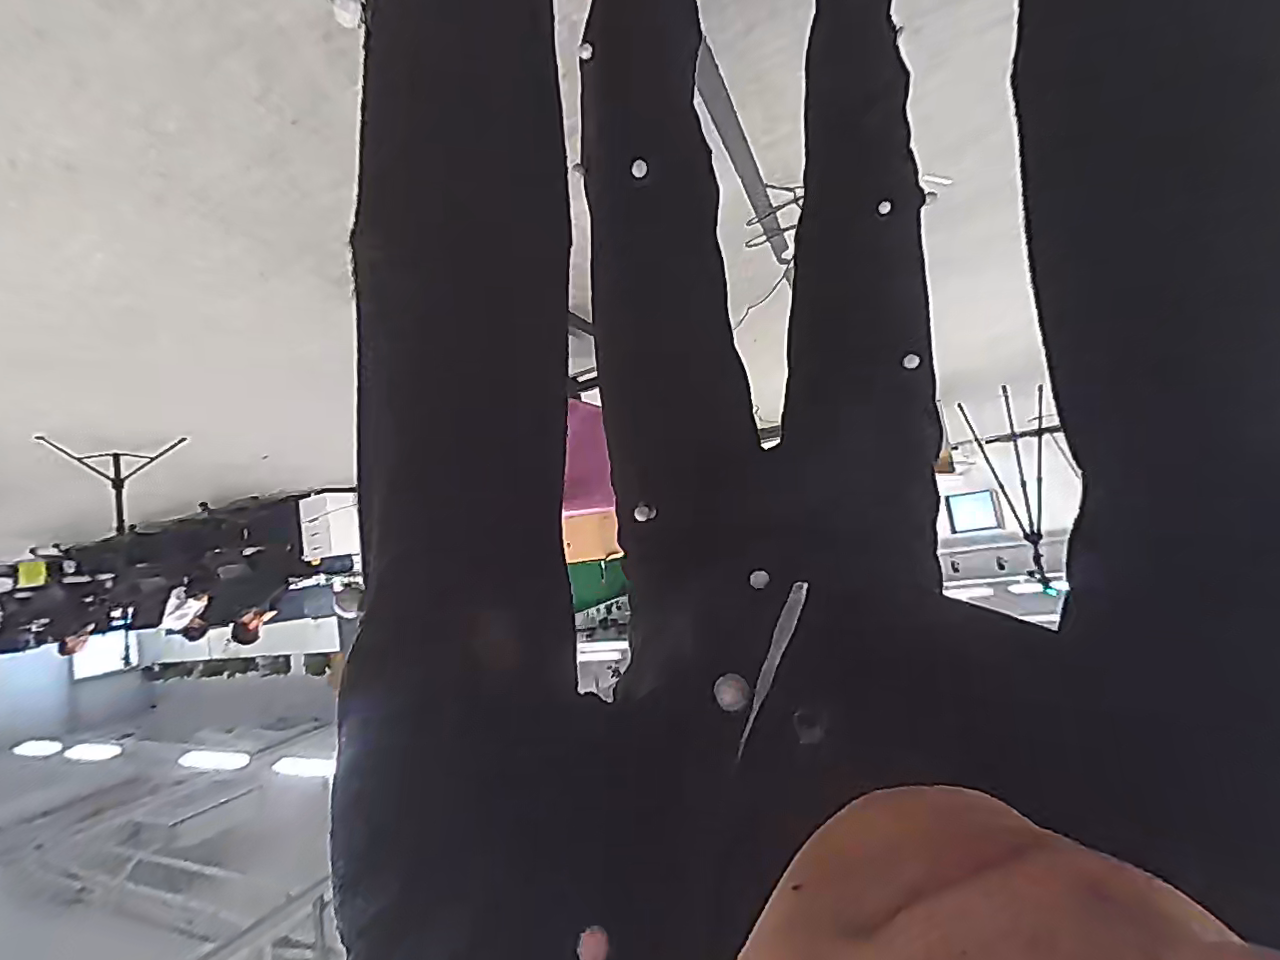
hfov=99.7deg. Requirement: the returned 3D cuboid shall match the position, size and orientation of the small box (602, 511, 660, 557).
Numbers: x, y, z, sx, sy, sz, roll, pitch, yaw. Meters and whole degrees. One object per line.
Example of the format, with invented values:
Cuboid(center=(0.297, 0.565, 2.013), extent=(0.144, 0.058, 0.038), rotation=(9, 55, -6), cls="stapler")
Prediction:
Cuboid(center=(-0.043, 0.223, 2.275), extent=(0.179, 0.176, 0.168), rotation=(-12, 173, 34), cls="small box")
